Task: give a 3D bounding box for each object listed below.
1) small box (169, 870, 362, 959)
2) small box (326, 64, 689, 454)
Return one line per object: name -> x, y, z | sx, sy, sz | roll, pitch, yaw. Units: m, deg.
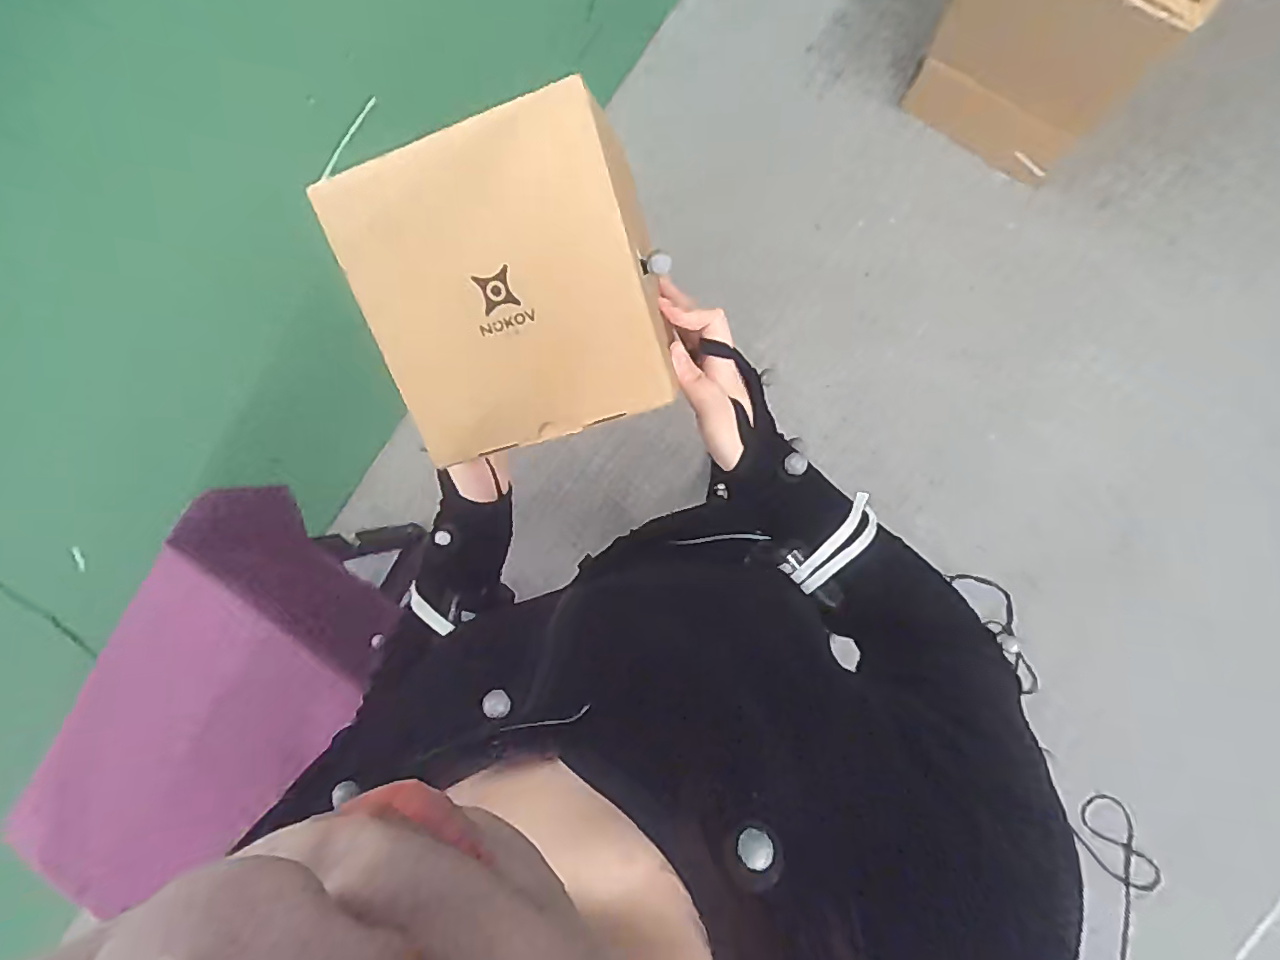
small box -> -0.439, 0.585, 0.584 | 0.168, 0.176, 0.179 | 33, 96, 7
small box -> -0.066, -0.141, 0.384 | 0.168, 0.176, 0.179 | -14, 111, 11
